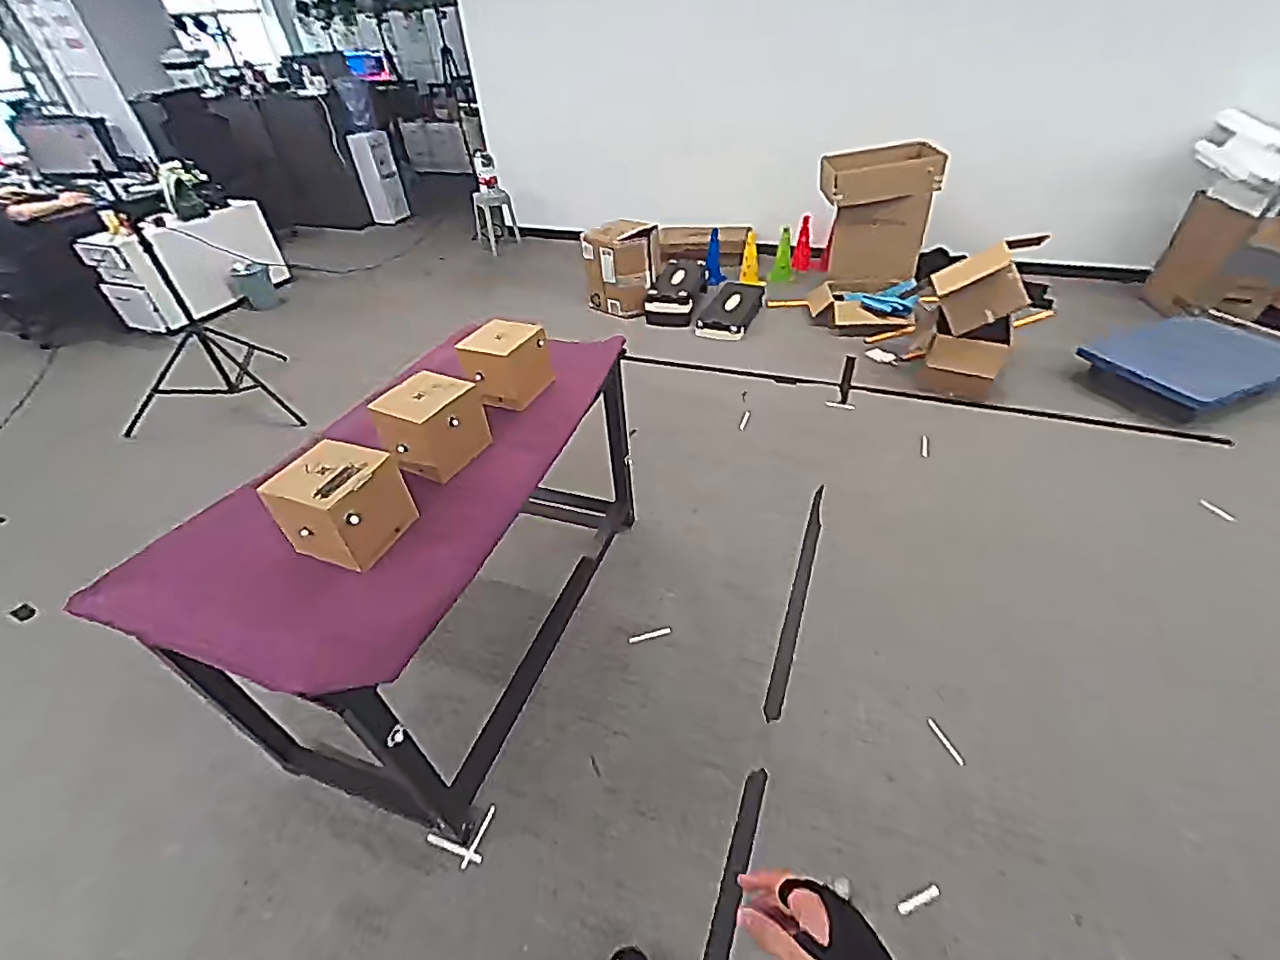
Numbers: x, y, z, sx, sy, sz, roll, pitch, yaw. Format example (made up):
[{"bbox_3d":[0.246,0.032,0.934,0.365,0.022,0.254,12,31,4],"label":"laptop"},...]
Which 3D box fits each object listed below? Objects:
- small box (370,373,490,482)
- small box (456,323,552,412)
[{"bbox_3d":[-0.472,-0.121,1.246,0.168,0.176,0.179,17,44,23],"label":"small box"},{"bbox_3d":[-0.354,-0.303,1.453,0.168,0.176,0.179,13,43,21],"label":"small box"}]
